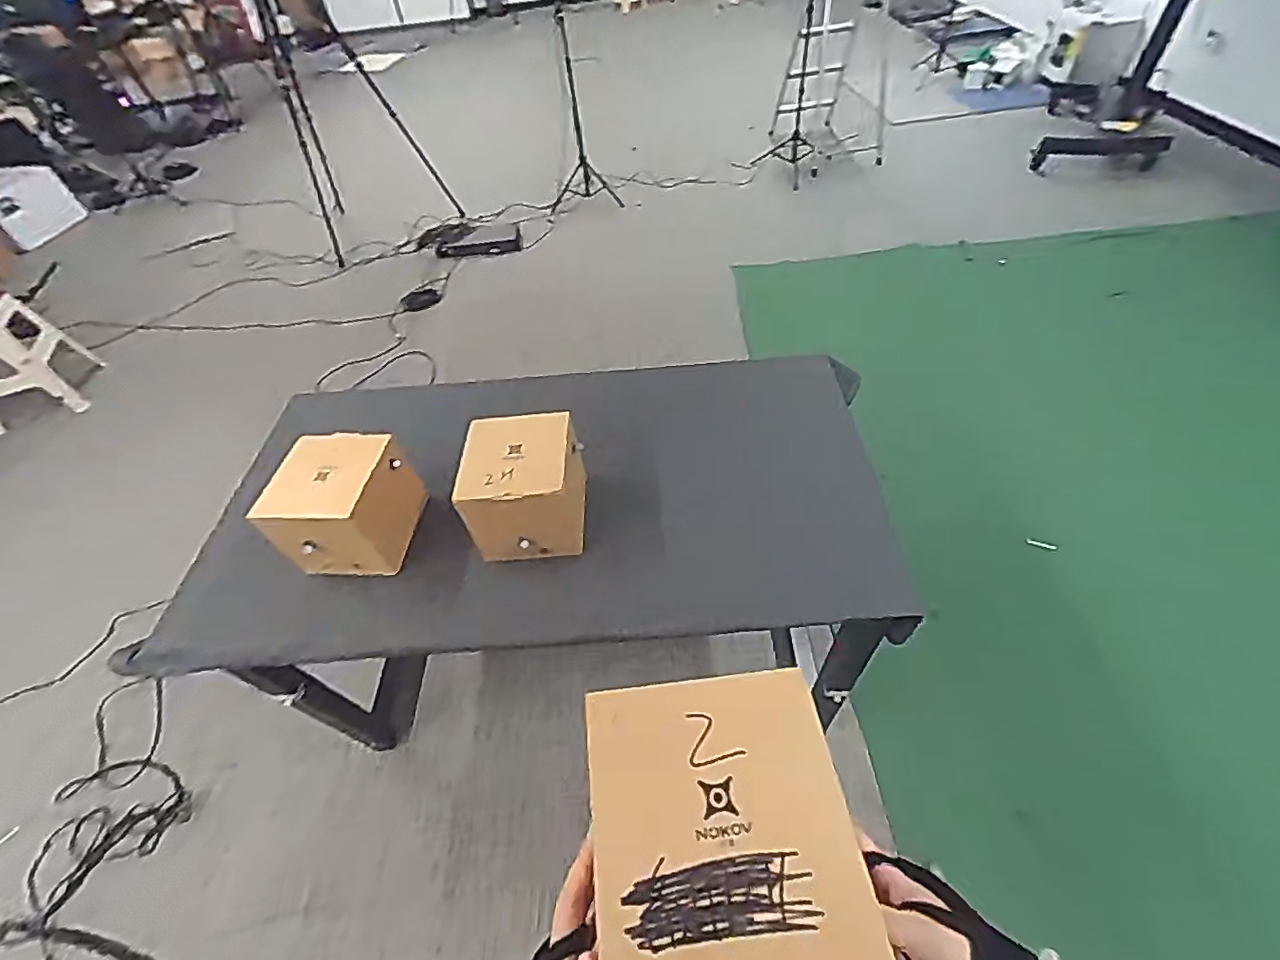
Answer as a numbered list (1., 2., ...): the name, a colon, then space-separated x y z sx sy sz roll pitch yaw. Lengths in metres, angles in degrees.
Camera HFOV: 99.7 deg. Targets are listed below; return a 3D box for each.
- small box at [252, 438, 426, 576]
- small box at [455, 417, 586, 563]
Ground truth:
1. small box: -0.487 0.049 0.911 0.168 0.176 0.179 0 49 6
2. small box: -0.186 0.018 0.901 0.168 0.176 0.179 -5 49 3
